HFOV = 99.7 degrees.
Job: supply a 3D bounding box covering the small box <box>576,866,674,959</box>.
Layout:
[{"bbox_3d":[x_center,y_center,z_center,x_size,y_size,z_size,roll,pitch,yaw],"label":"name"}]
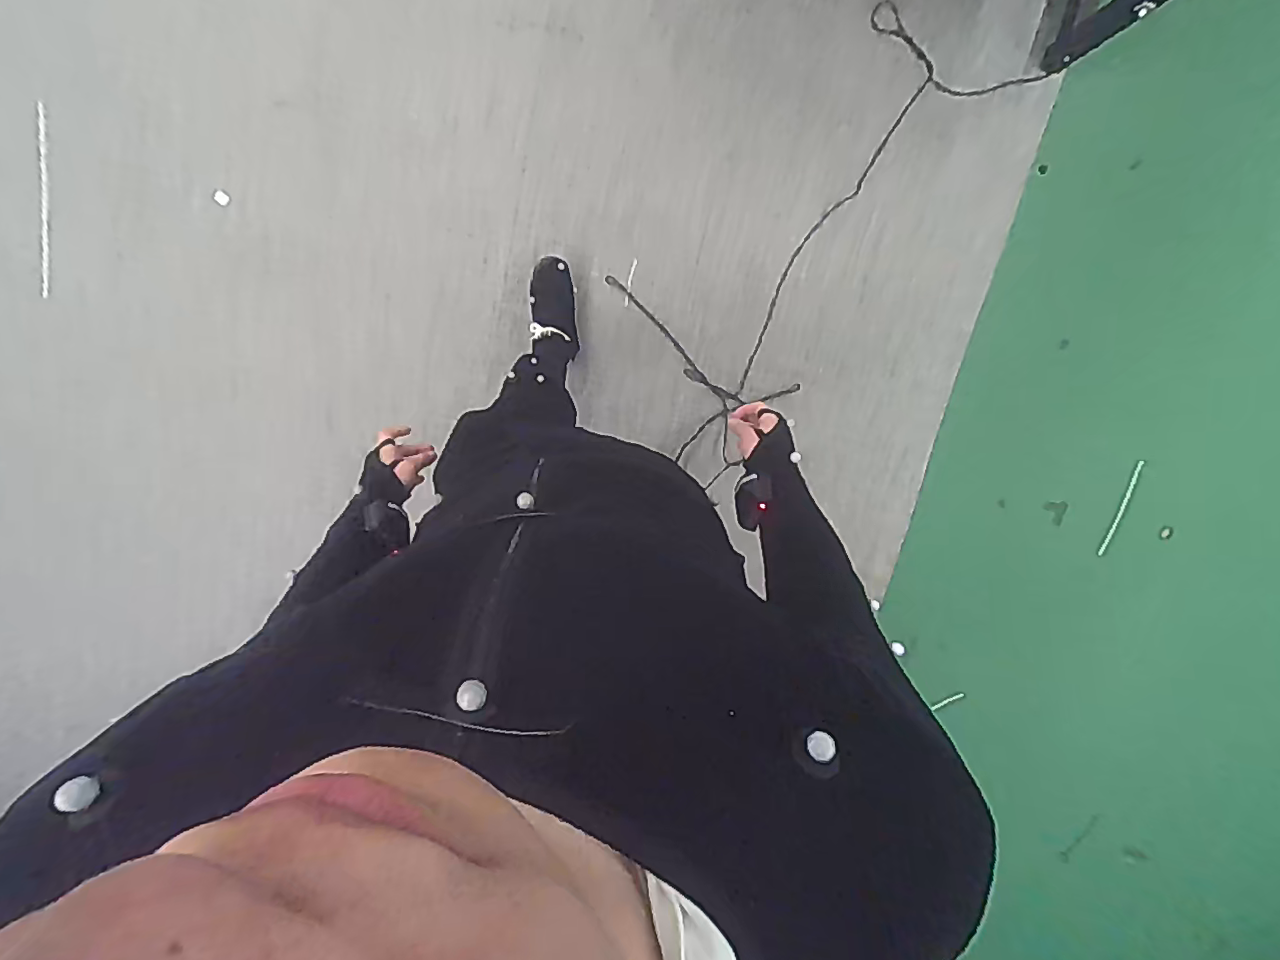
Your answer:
[{"bbox_3d":[-0.036,0.985,1.159,0.168,0.176,0.179,19,101,-6],"label":"small box"}]
